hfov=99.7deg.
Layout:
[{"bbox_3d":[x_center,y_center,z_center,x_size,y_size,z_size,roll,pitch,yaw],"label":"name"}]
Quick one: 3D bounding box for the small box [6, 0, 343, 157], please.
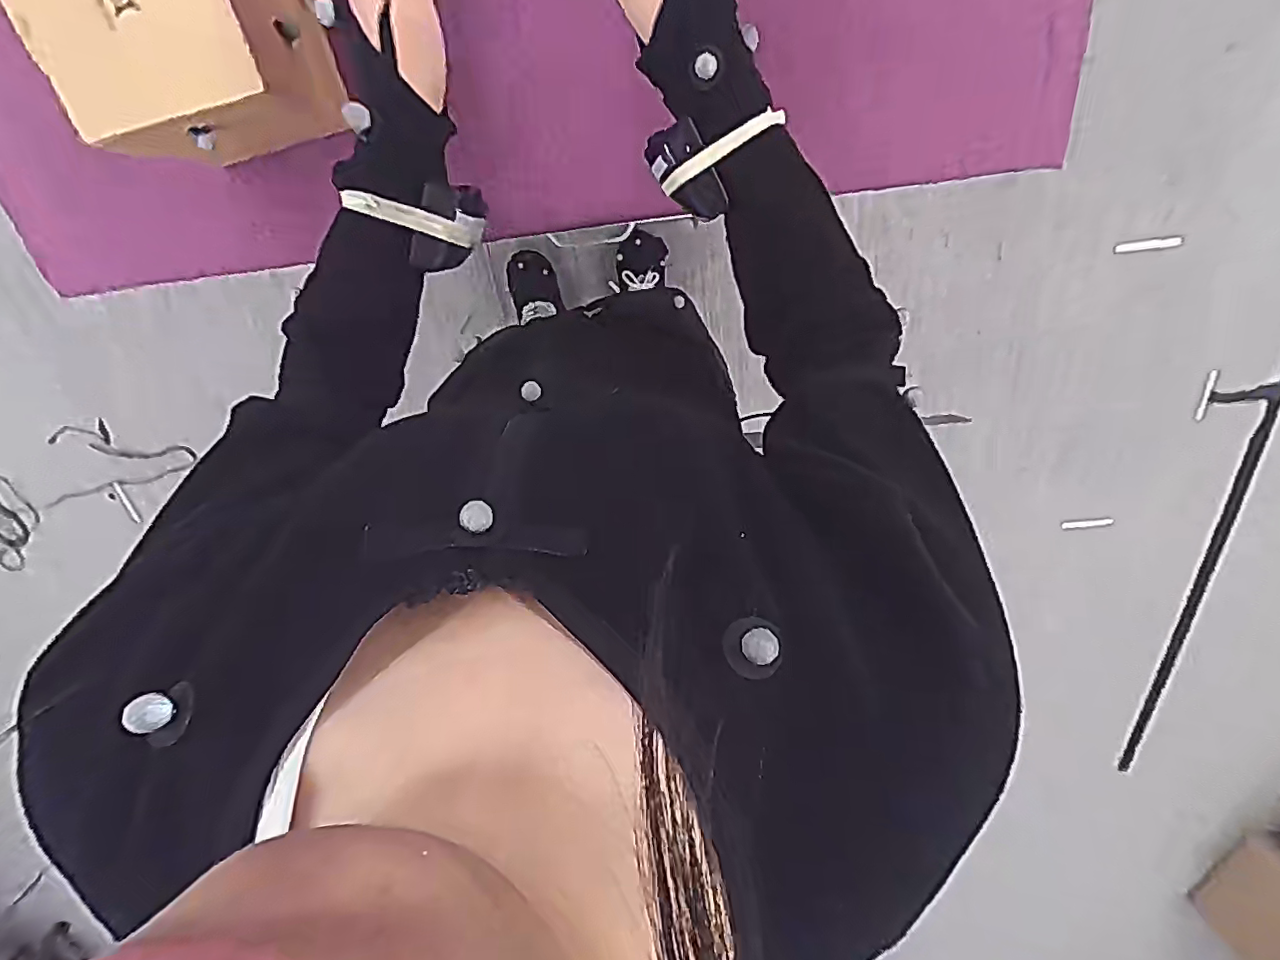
[{"bbox_3d":[-0.407,-0.412,0.493,0.179,0.176,0.168,-11,115,6],"label":"small box"}]
